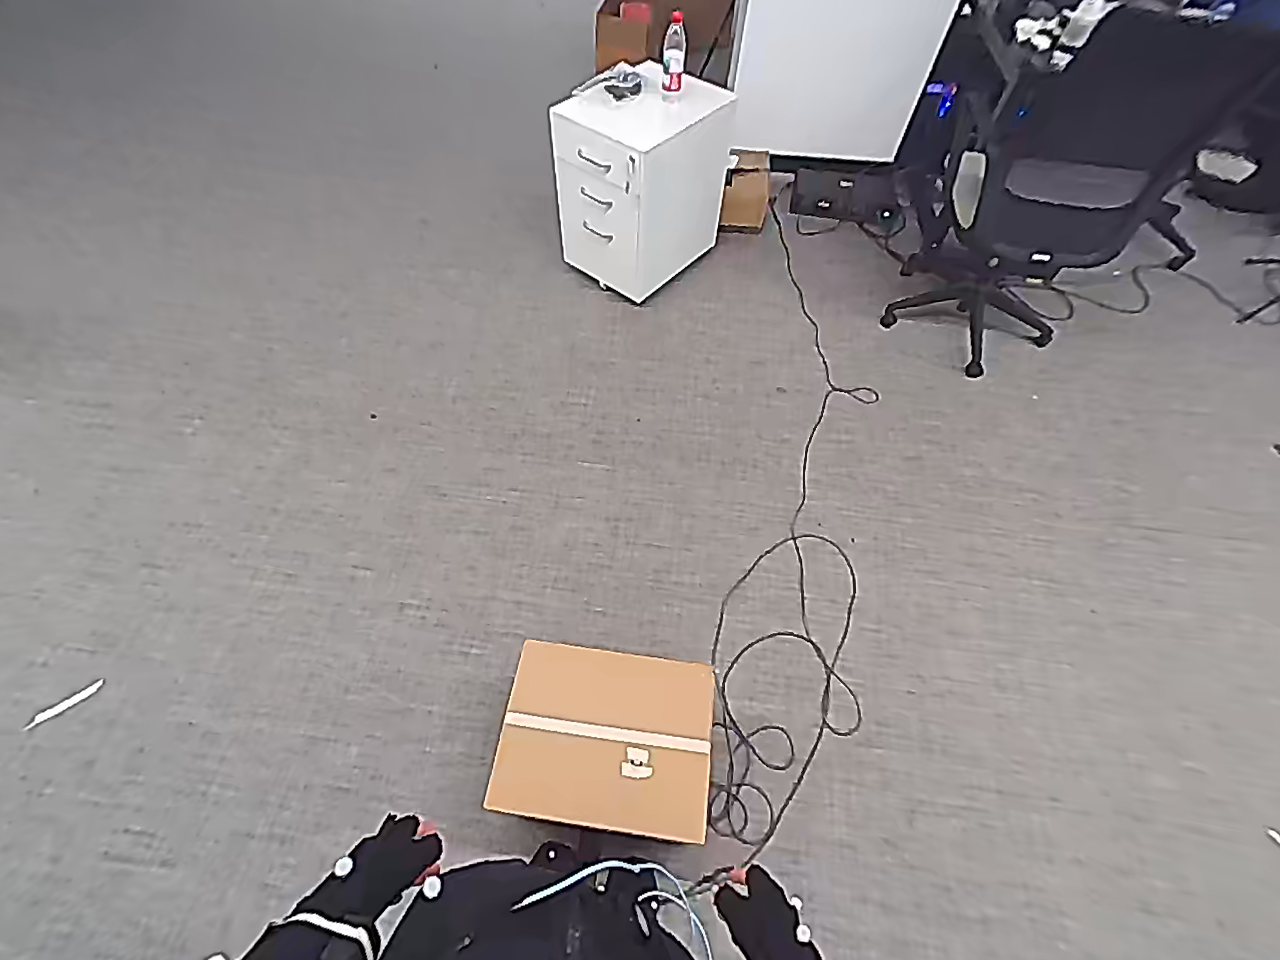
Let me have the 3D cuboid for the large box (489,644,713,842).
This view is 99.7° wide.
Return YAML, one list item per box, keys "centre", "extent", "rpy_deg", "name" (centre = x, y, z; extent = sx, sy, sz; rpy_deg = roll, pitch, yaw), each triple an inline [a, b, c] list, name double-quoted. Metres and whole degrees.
- centre: [-0.068, 0.579, 1.179]
  extent: [0.408, 0.320, 0.320]
  rpy_deg: [8, 57, 3]
  name: "large box"
